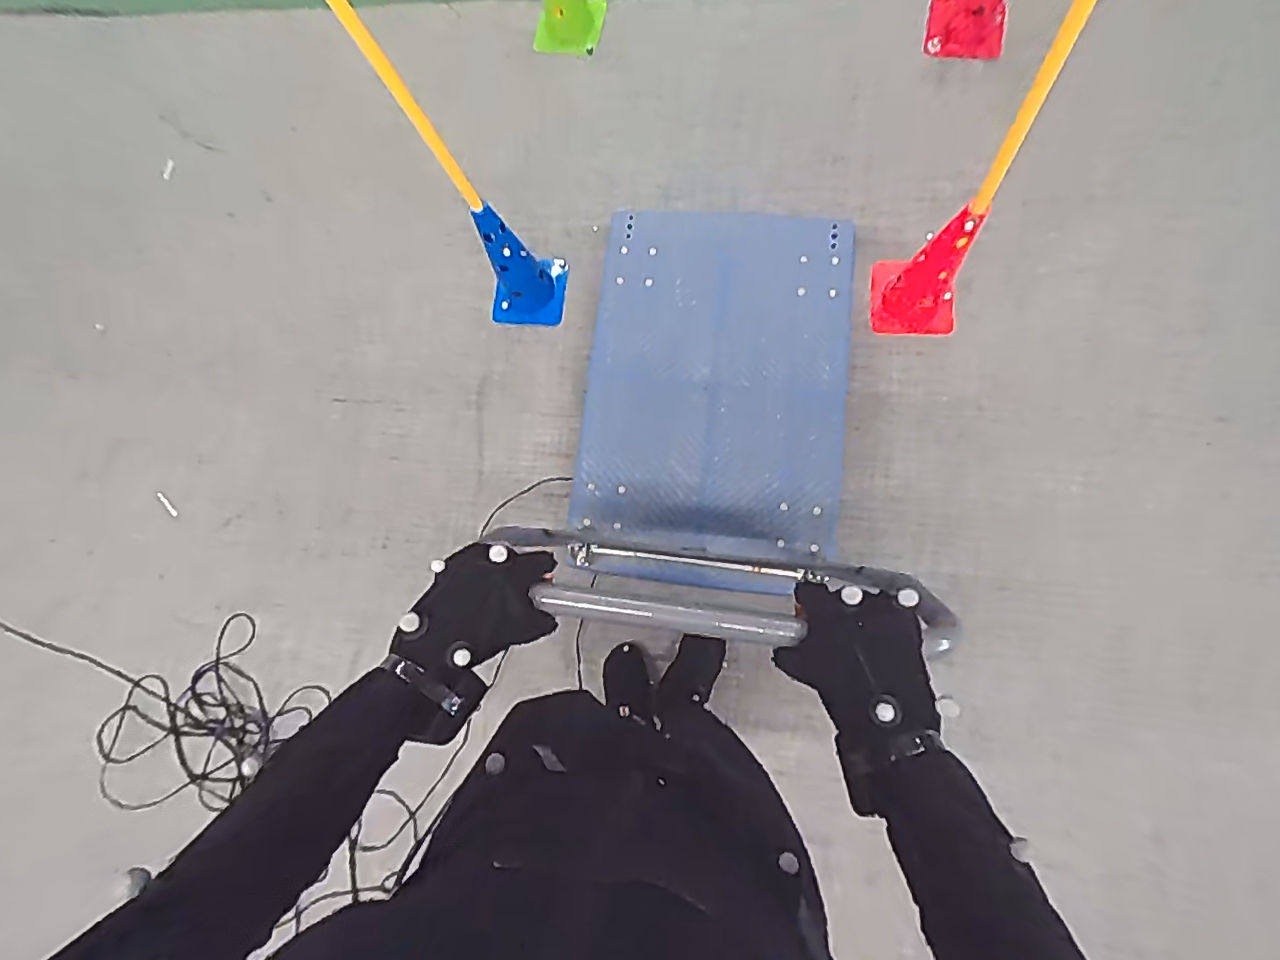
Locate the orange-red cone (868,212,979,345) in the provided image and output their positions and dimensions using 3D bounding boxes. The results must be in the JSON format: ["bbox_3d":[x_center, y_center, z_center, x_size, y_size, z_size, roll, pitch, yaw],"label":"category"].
[{"bbox_3d":[0.669,-0.475,1.230,0.199,0.360,0.198,4,79,9],"label":"orange-red cone"}]

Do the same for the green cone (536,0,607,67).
[{"bbox_3d":[-0.233,-1.398,1.504,0.202,0.368,0.200,9,80,9],"label":"green cone"}]
